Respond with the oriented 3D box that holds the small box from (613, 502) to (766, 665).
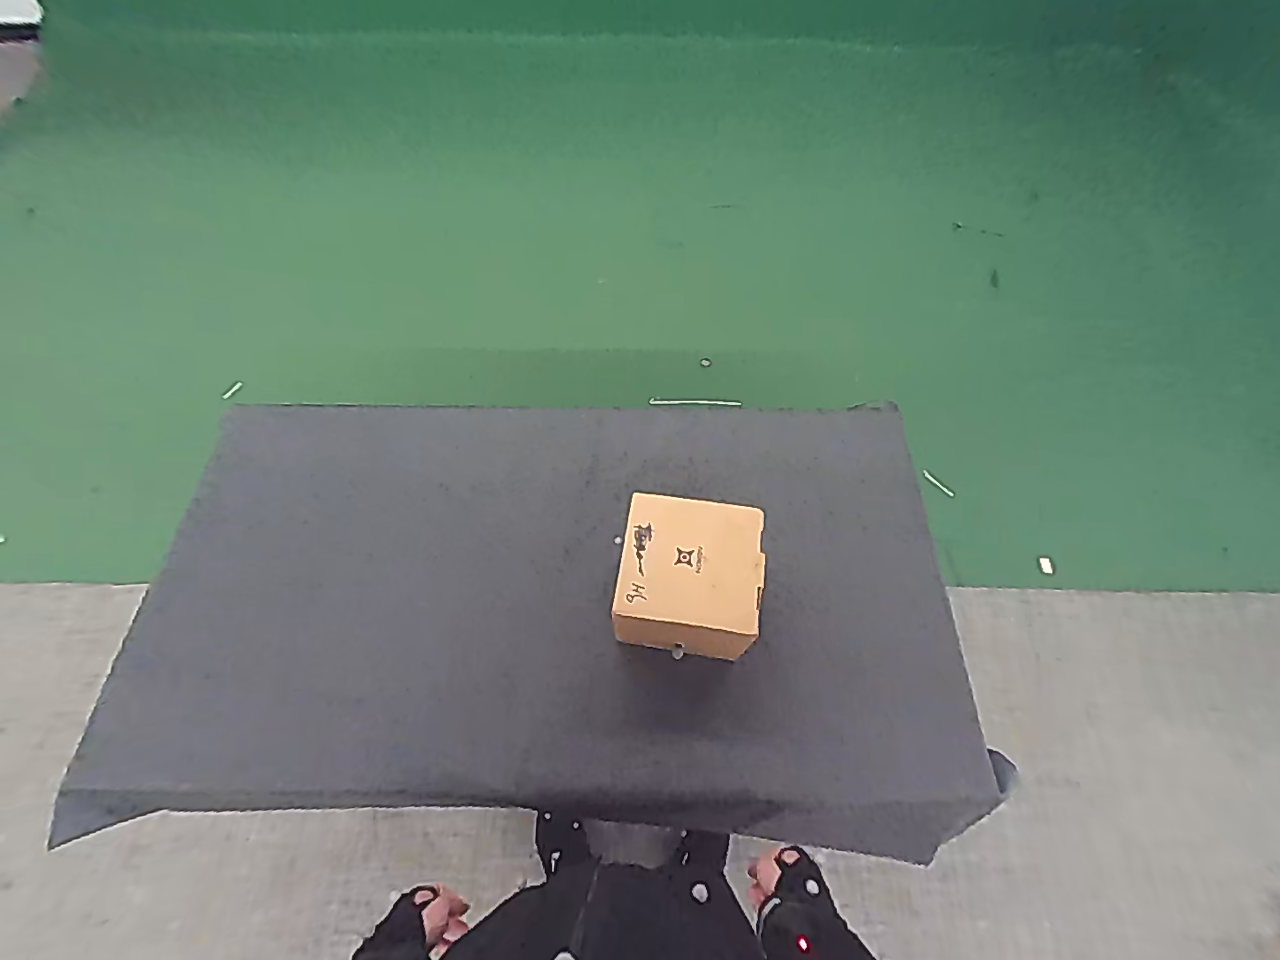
[{"bbox_3d":[0.064,0.150,0.746,0.179,0.176,0.168,8,62,4],"label":"small box"}]
